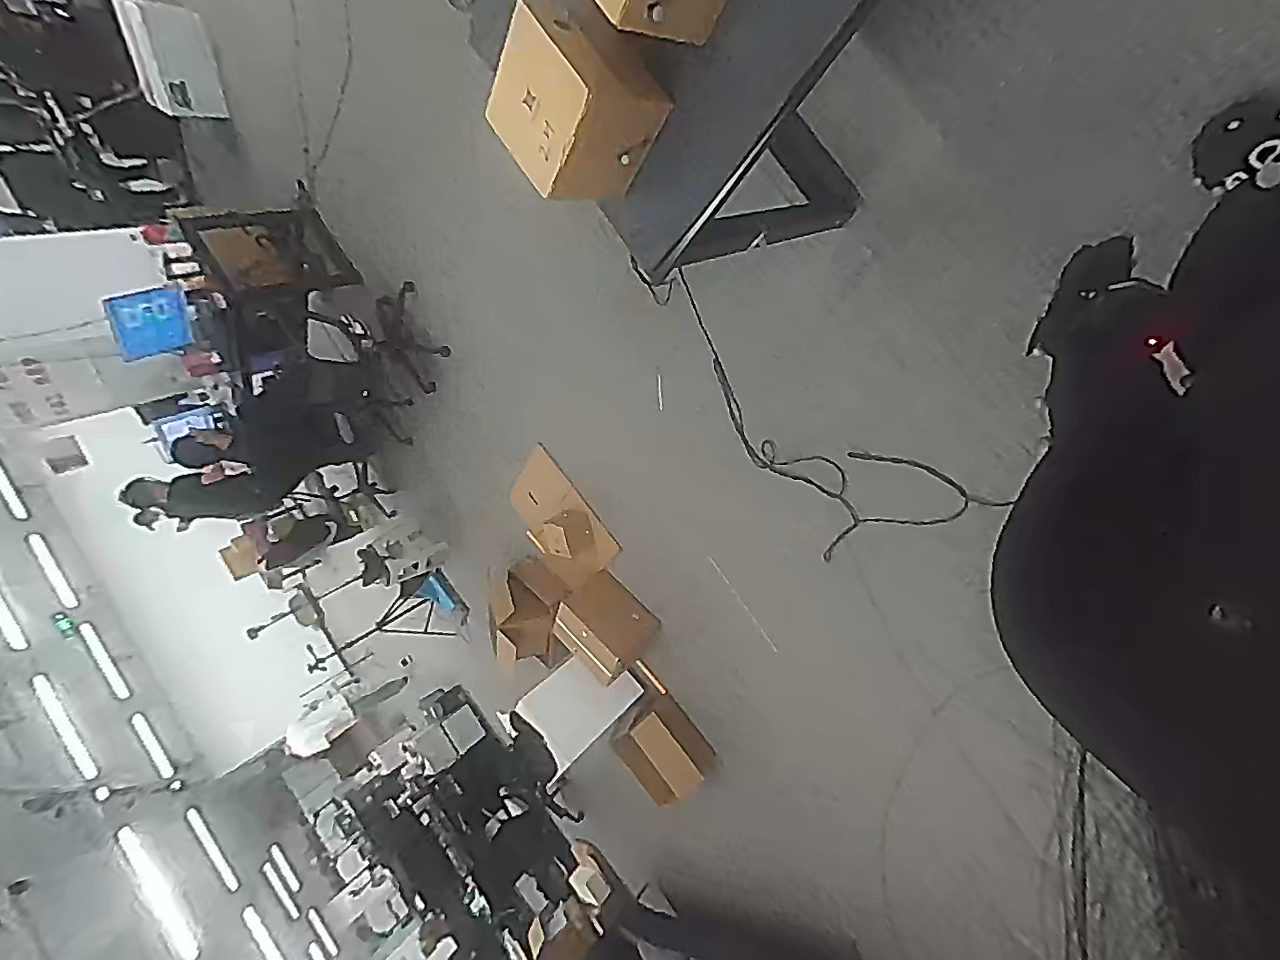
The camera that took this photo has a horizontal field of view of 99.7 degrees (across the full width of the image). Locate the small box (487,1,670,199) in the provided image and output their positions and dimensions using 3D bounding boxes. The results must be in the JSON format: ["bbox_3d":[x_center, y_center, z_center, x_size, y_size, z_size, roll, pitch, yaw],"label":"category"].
[{"bbox_3d":[-0.091,-0.545,0.801,0.179,0.176,0.168,55,139,7],"label":"small box"}]
